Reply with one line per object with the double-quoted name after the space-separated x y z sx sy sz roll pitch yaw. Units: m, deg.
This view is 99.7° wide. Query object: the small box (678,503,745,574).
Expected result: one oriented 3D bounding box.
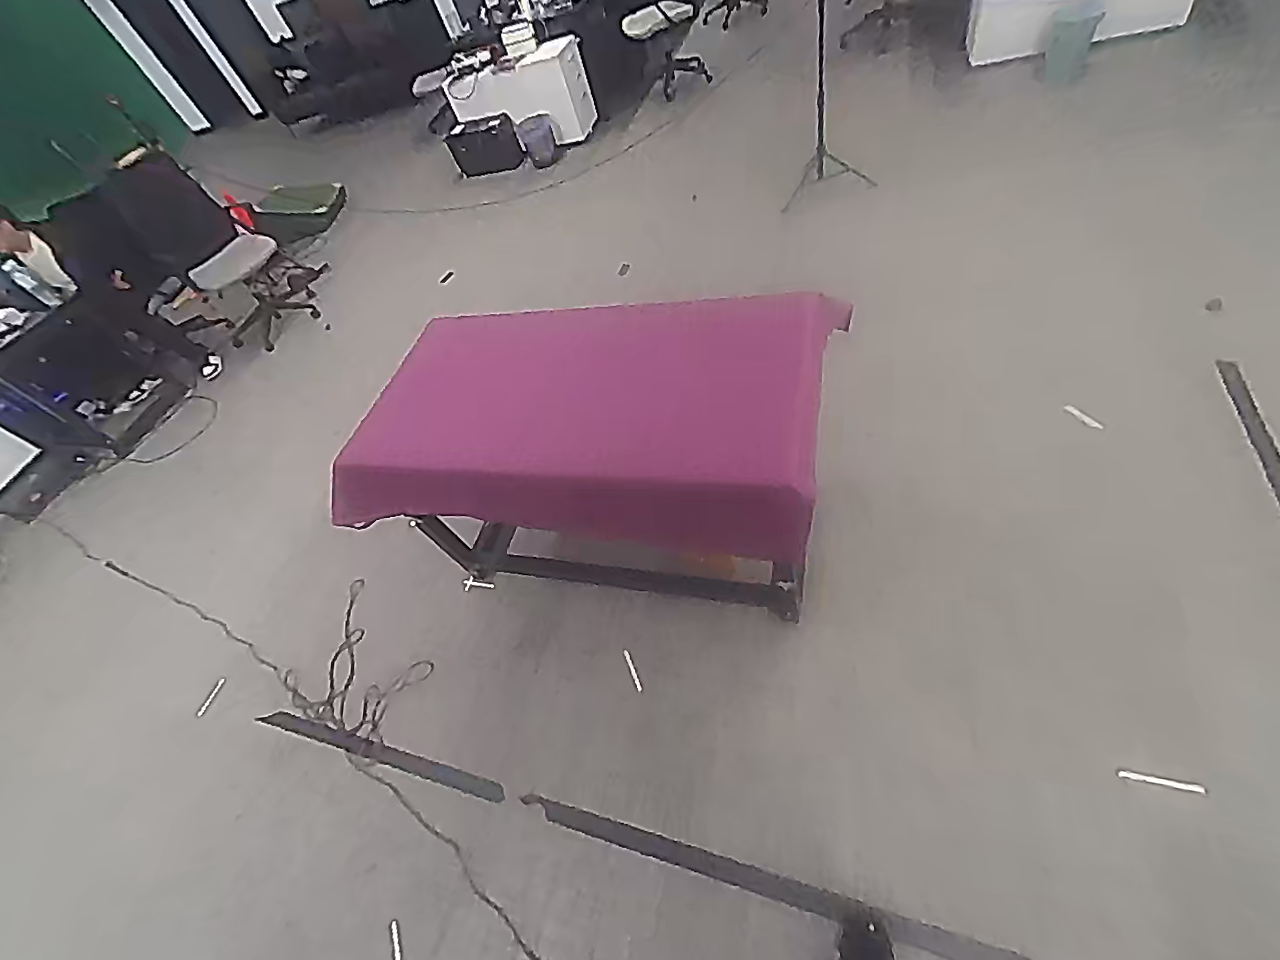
0.241 0.193 1.770 0.179 0.176 0.168 3 55 22 "small box"
